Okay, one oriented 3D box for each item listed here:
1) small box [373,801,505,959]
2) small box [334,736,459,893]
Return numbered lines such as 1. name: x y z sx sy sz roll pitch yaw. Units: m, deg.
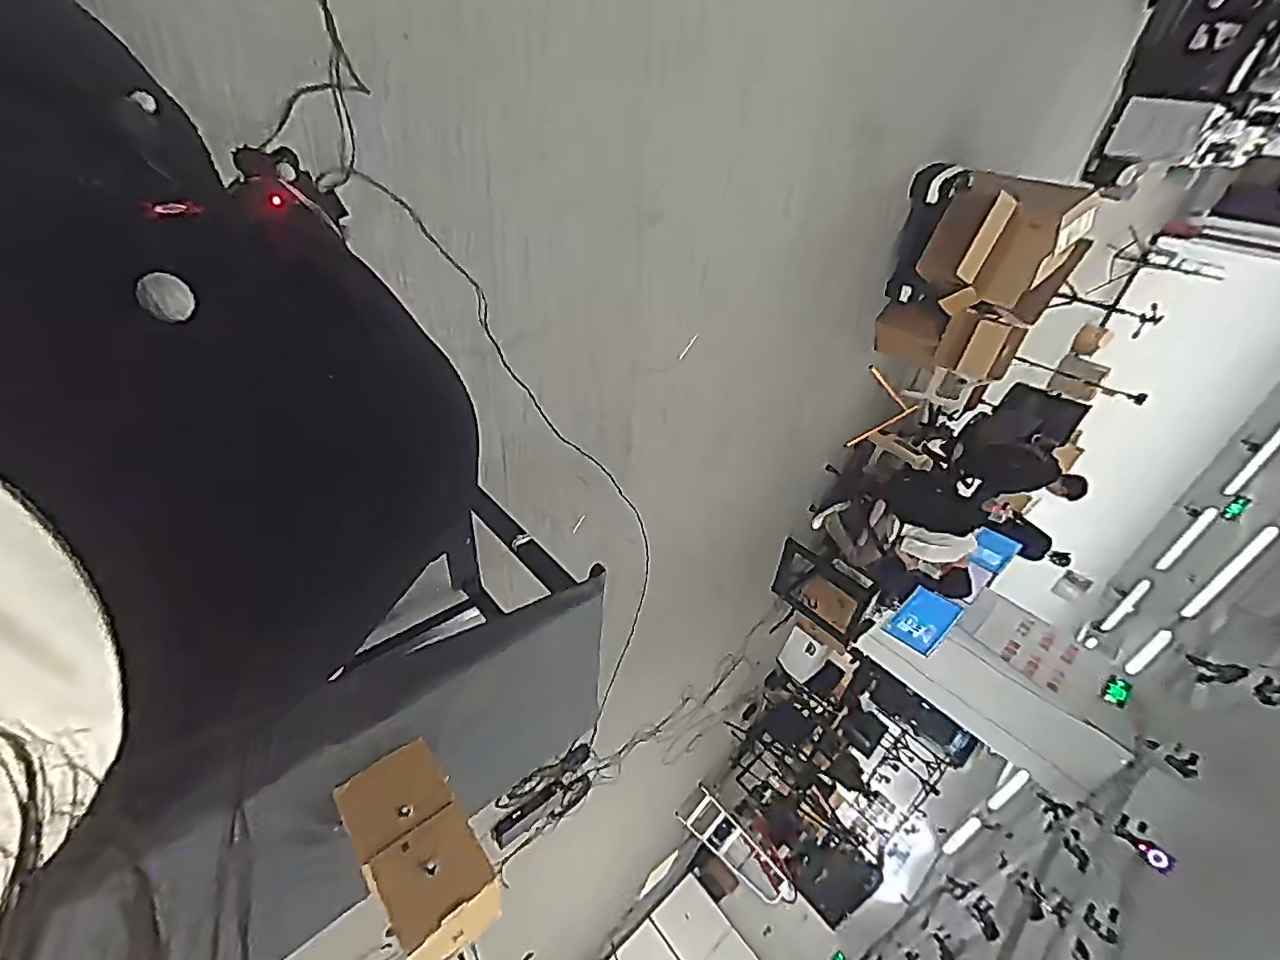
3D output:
1. small box: -0.364 0.730 0.985 0.168 0.176 0.179 -23 134 -37
2. small box: -0.476 0.655 1.078 0.179 0.176 0.168 -23 134 -36
